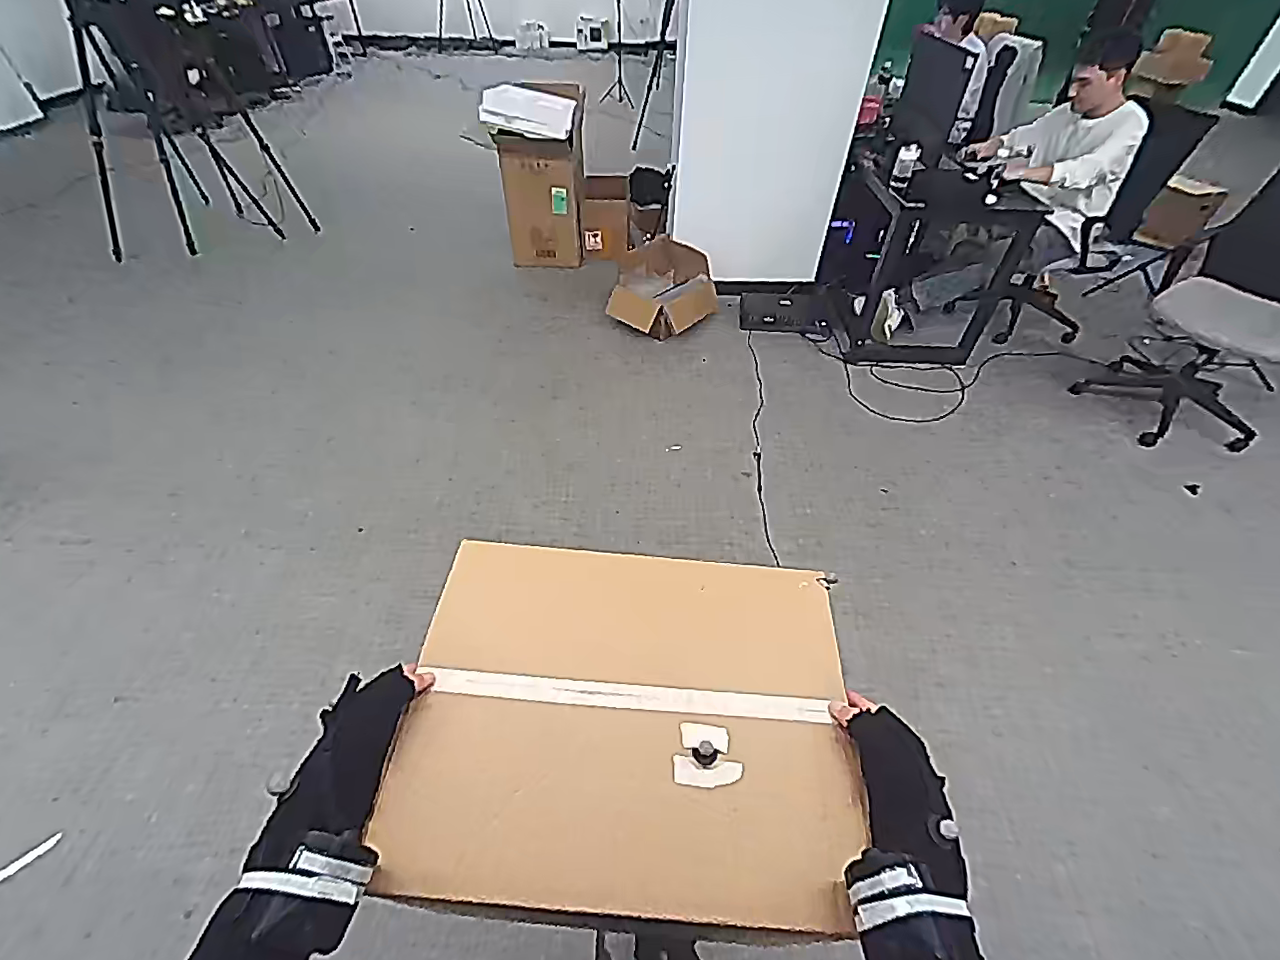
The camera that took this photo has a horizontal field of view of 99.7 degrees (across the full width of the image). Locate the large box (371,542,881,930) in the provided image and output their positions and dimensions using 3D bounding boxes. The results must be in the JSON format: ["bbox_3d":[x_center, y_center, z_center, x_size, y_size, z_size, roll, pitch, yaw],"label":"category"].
[{"bbox_3d":[-0.013,0.298,0.621,0.408,0.320,0.320,6,49,0],"label":"large box"}]
